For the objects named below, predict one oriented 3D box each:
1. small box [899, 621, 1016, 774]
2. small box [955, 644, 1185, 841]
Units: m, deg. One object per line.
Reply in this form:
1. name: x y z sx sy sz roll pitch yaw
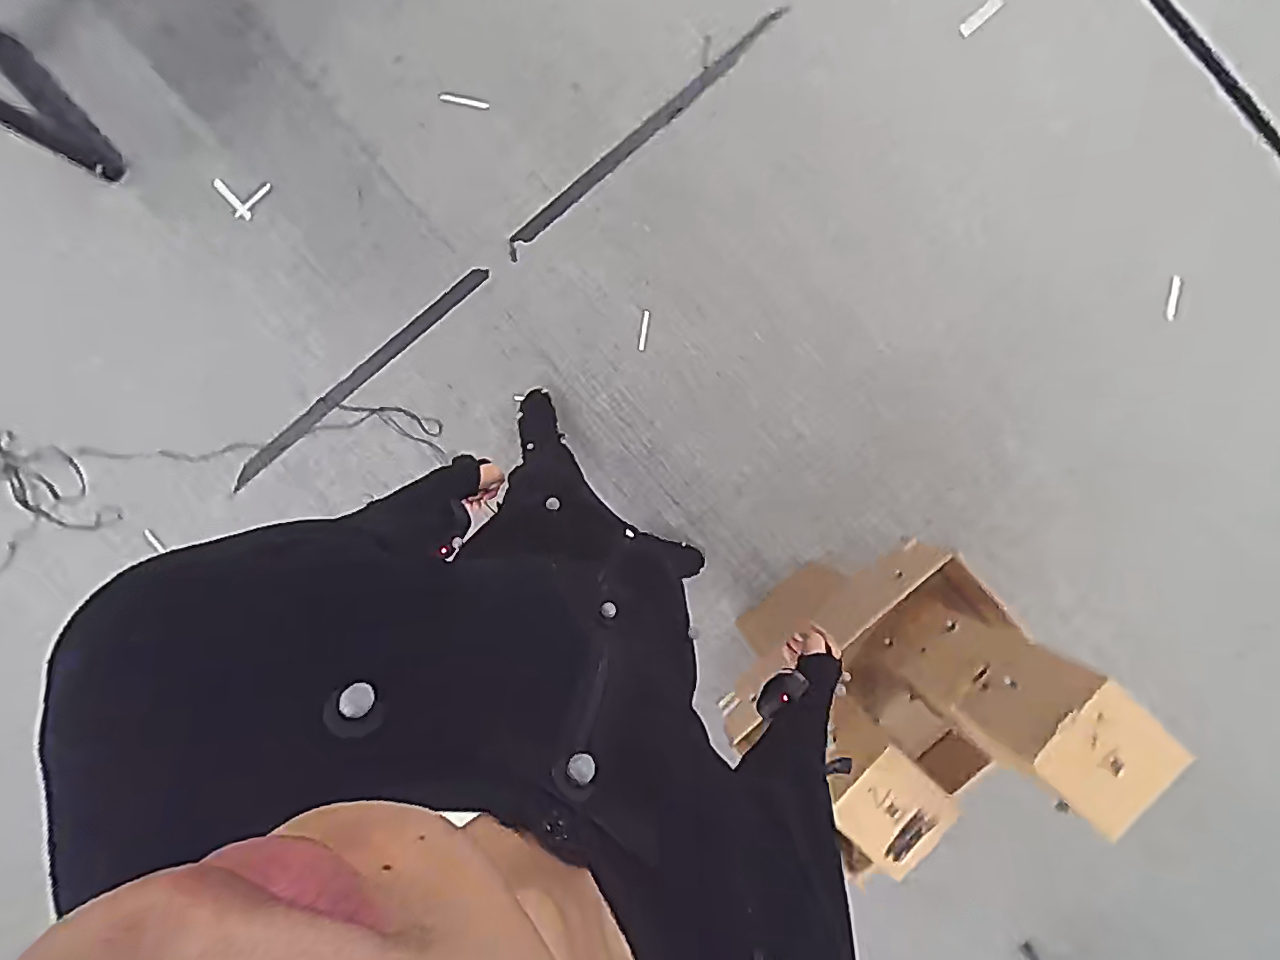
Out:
1. small box: 0.620 0.380 0.991 0.168 0.176 0.179 -44 93 1
2. small box: 0.639 0.383 0.826 0.179 0.176 0.168 44 90 -3
